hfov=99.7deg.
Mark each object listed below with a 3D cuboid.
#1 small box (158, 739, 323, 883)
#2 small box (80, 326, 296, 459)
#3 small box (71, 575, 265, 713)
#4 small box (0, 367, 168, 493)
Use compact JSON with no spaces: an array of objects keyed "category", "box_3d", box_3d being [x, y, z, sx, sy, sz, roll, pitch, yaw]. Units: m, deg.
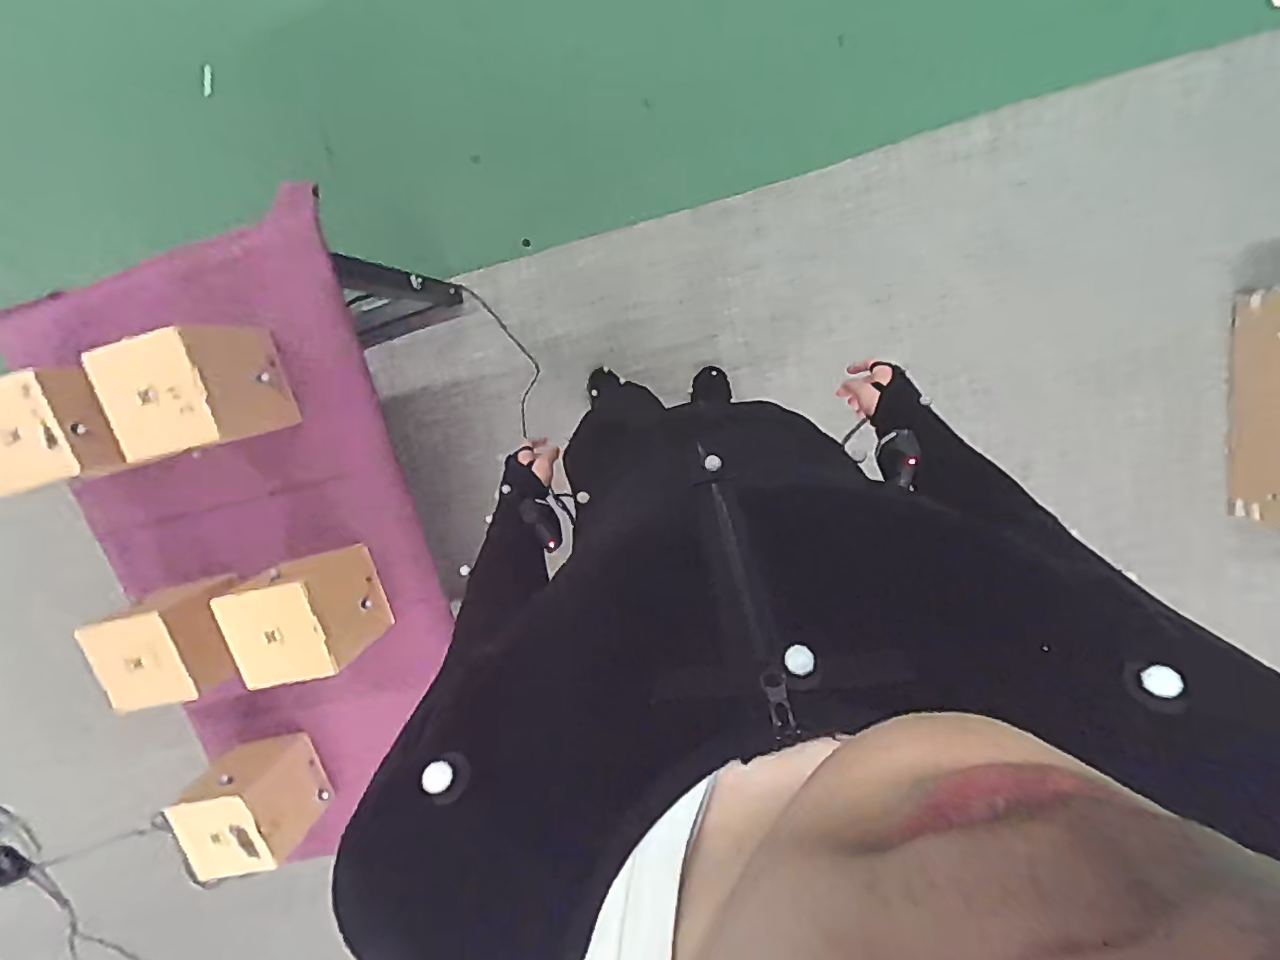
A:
[{"category":"small box","box_3d":[-0.755,0.632,1.050,0.179,0.176,0.168,-14,101,9]},{"category":"small box","box_3d":[-0.704,-0.142,0.863,0.179,0.176,0.168,-11,103,10]},{"category":"small box","box_3d":[-0.843,0.290,0.984,0.179,0.176,0.168,-13,102,8]},{"category":"small box","box_3d":[-0.957,-0.088,0.906,0.179,0.176,0.168,-14,102,9]}]
